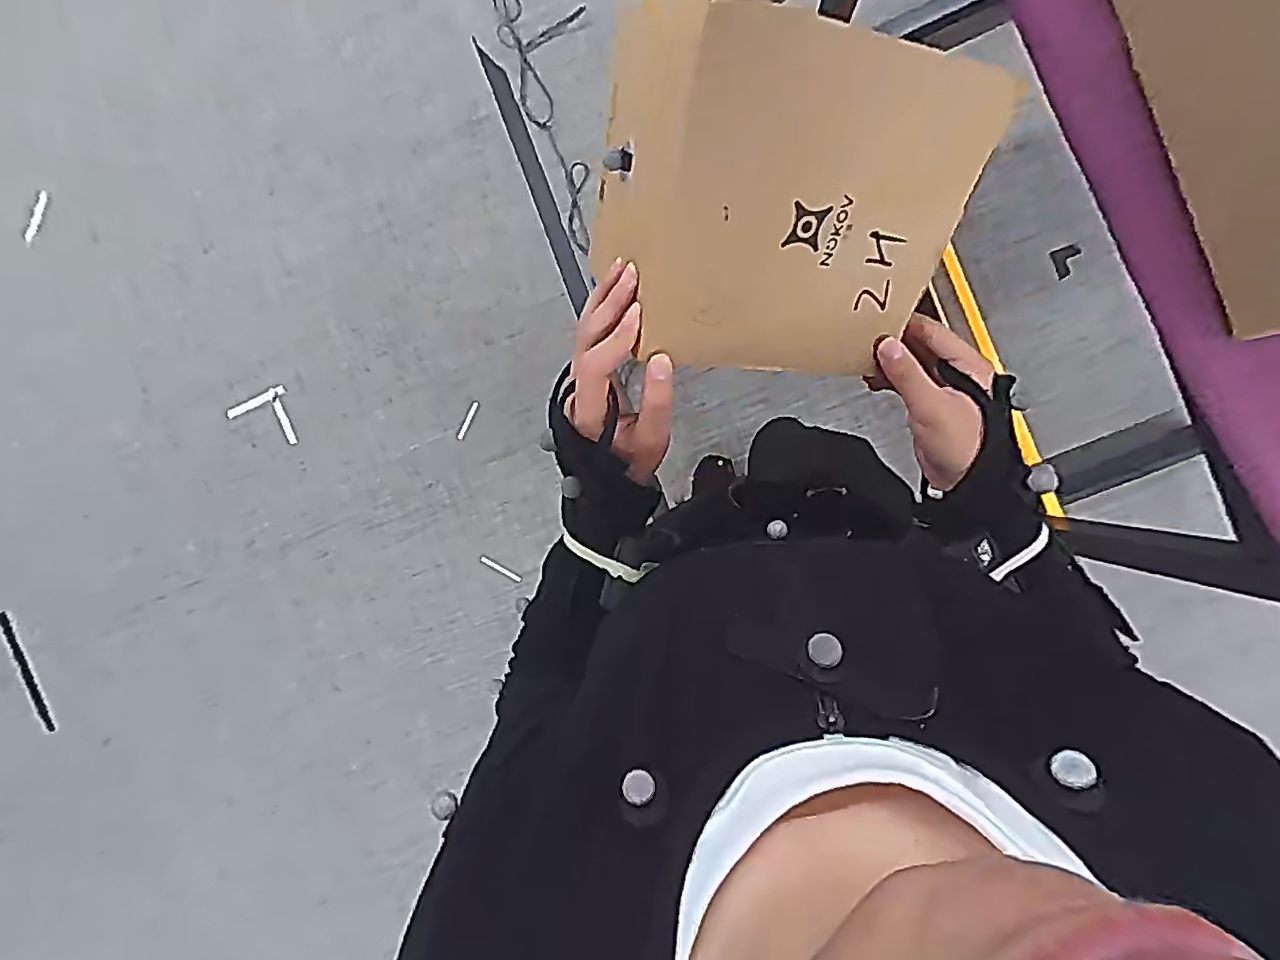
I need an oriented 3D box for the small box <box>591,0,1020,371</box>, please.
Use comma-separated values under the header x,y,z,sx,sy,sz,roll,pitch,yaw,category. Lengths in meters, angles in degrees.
x,y,z,sx,sy,sz,roll,pitch,yaw,category
0.072,-0.186,0.347,0.179,0.176,0.168,-1,129,-18,small box
